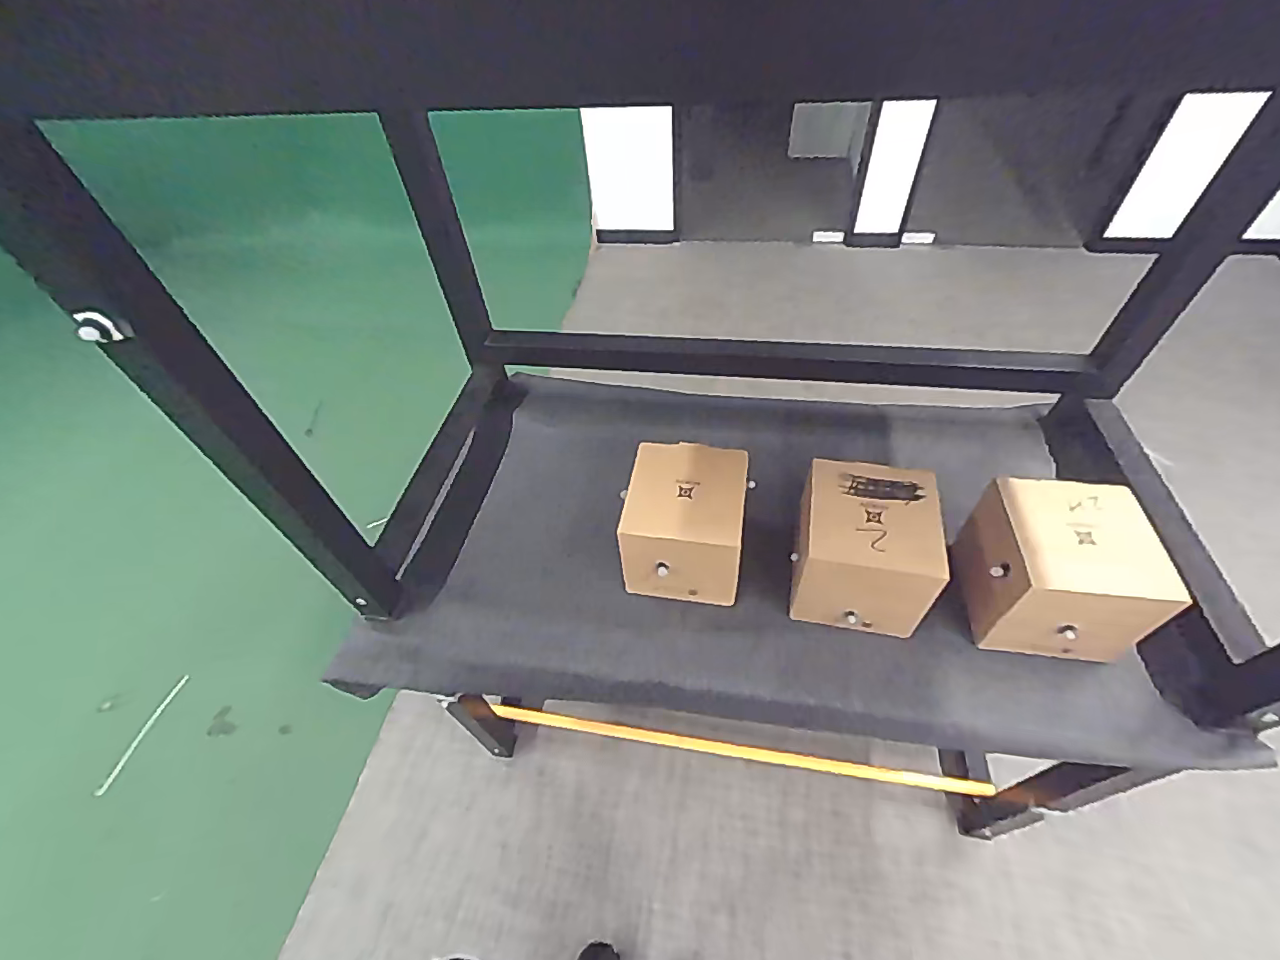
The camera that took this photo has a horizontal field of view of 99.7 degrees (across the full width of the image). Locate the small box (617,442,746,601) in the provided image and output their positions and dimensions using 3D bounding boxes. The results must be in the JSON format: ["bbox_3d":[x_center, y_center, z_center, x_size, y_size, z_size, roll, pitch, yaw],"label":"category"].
[{"bbox_3d":[0.069,0.066,0.826,0.168,0.176,0.179,6,50,9],"label":"small box"}]

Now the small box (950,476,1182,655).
[{"bbox_3d":[0.552,0.119,0.734,0.168,0.176,0.179,5,49,8],"label":"small box"}]
